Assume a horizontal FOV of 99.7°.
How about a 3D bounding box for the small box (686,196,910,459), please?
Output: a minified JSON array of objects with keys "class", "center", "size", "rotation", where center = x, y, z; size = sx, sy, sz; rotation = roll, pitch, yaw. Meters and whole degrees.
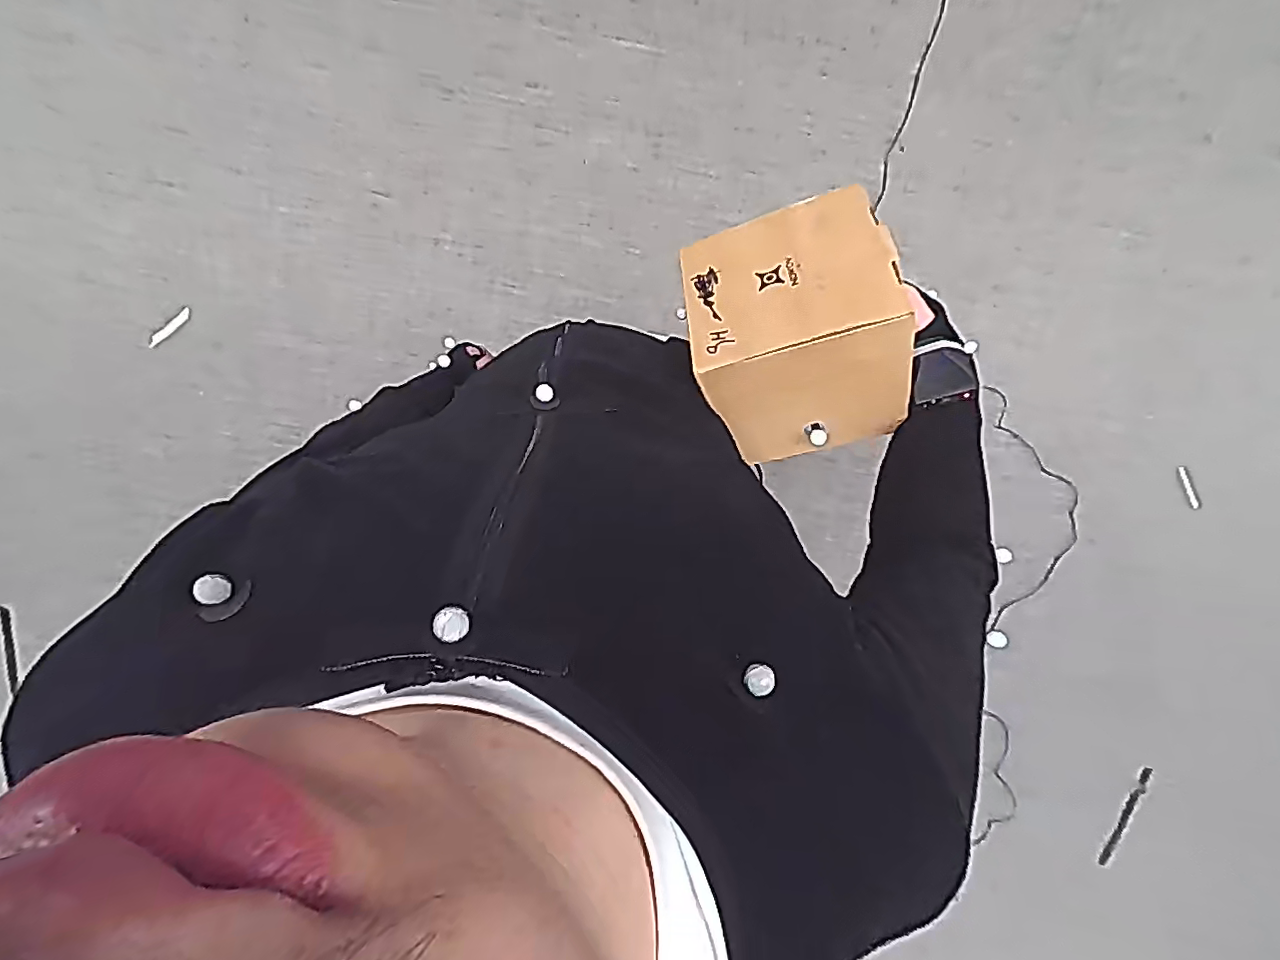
[{"class":"small box","center":[0.158,-0.143,0.557],"size":[0.179,0.176,0.168],"rotation":[-13,58,17]}]
